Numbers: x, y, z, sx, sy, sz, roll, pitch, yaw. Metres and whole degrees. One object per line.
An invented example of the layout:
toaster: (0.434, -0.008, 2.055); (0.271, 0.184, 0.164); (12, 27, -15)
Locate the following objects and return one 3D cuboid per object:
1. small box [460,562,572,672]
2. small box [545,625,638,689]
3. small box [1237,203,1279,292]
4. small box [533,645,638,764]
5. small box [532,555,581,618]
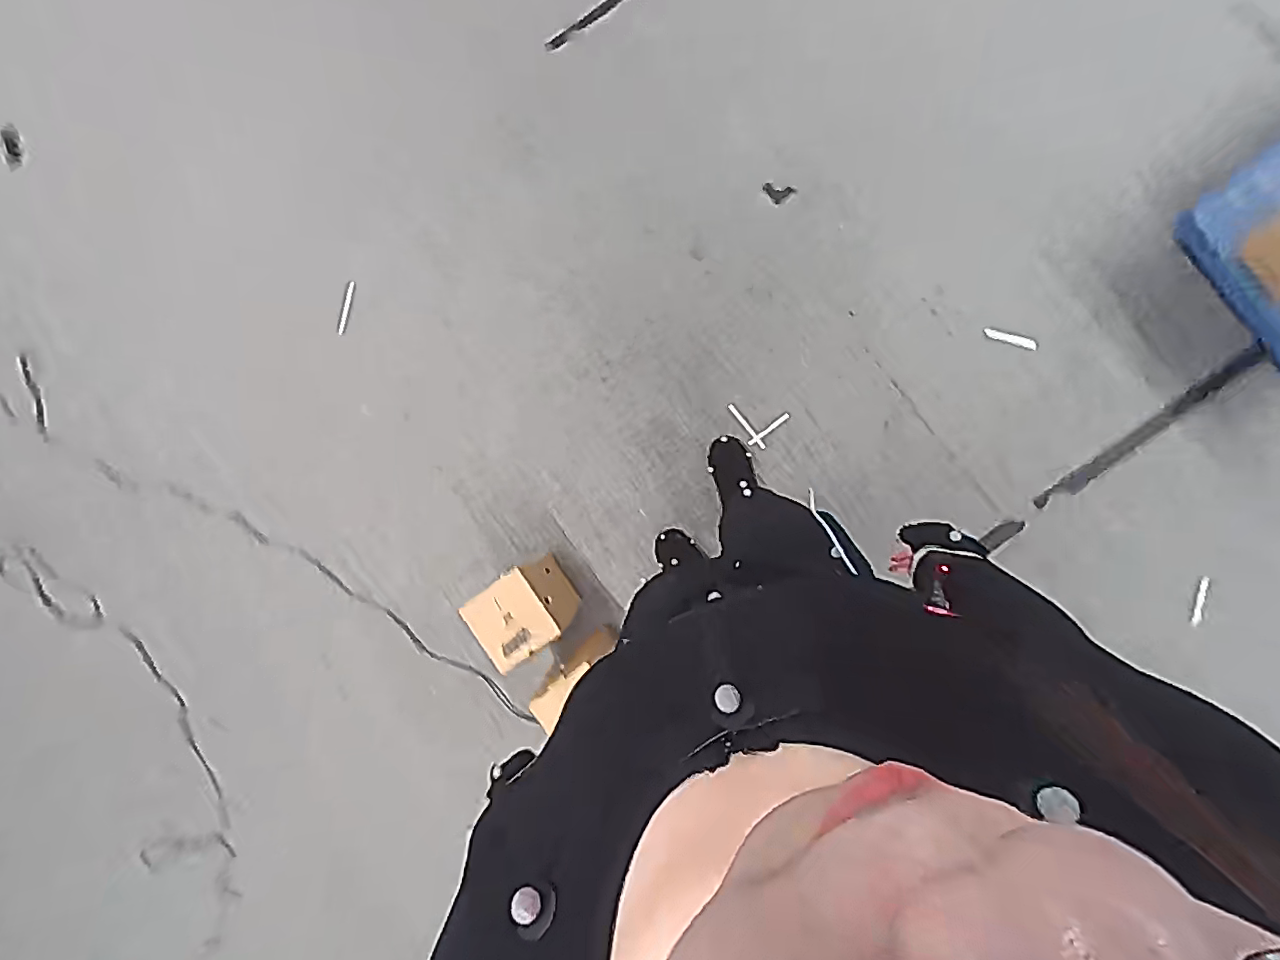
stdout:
small box: (-0.280, 0.312, 1.272); (0.168, 0.176, 0.179); (-36, 86, 1)
small box: (-0.119, 0.512, 1.426); (0.179, 0.176, 0.168); (-37, 89, 1)
small box: (1.500, -0.550, 1.191); (0.179, 0.176, 0.168); (-39, 88, 0)
small box: (-0.120, 0.509, 1.262); (0.168, 0.176, 0.179); (-38, 88, 2)
small box: (-0.275, 0.317, 1.437); (0.168, 0.176, 0.179); (-35, 87, 1)
